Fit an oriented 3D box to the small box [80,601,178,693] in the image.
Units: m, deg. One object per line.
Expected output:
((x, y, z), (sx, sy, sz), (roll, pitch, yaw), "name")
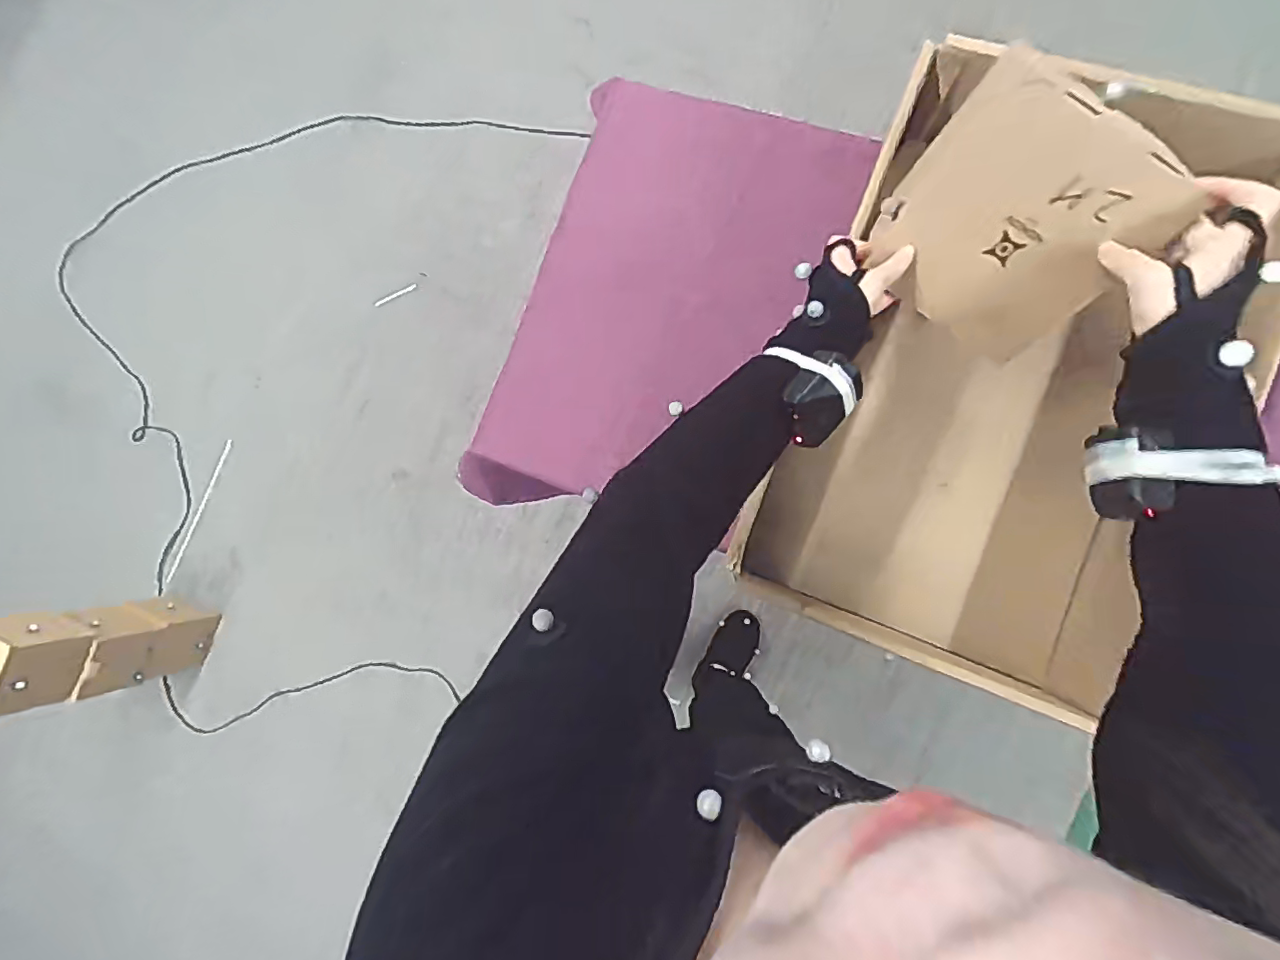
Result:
((-1.407, 0.438, 1.451), (0.179, 0.176, 0.168), (20, 88, 12), "small box")

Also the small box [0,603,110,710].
((-1.436, 0.409, 1.292), (0.168, 0.176, 0.179), (21, 90, 11), "small box")
